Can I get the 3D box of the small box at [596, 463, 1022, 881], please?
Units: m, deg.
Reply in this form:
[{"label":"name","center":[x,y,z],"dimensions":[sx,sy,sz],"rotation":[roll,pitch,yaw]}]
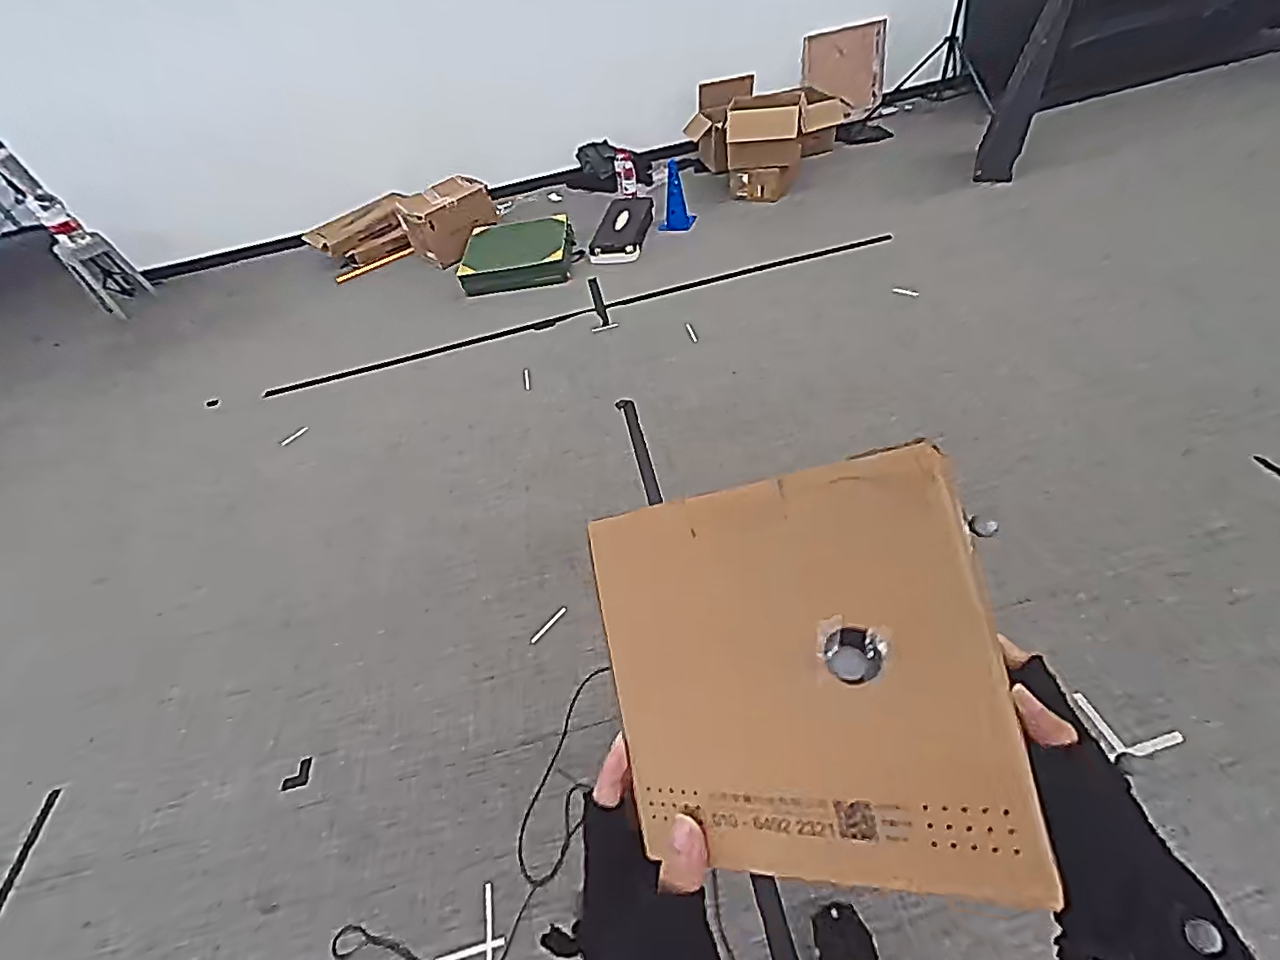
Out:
[{"label":"small box","center":[0.102,0.095,0.319],"dimensions":[0.168,0.179,0.176],"rotation":[-16,81,30]}]
